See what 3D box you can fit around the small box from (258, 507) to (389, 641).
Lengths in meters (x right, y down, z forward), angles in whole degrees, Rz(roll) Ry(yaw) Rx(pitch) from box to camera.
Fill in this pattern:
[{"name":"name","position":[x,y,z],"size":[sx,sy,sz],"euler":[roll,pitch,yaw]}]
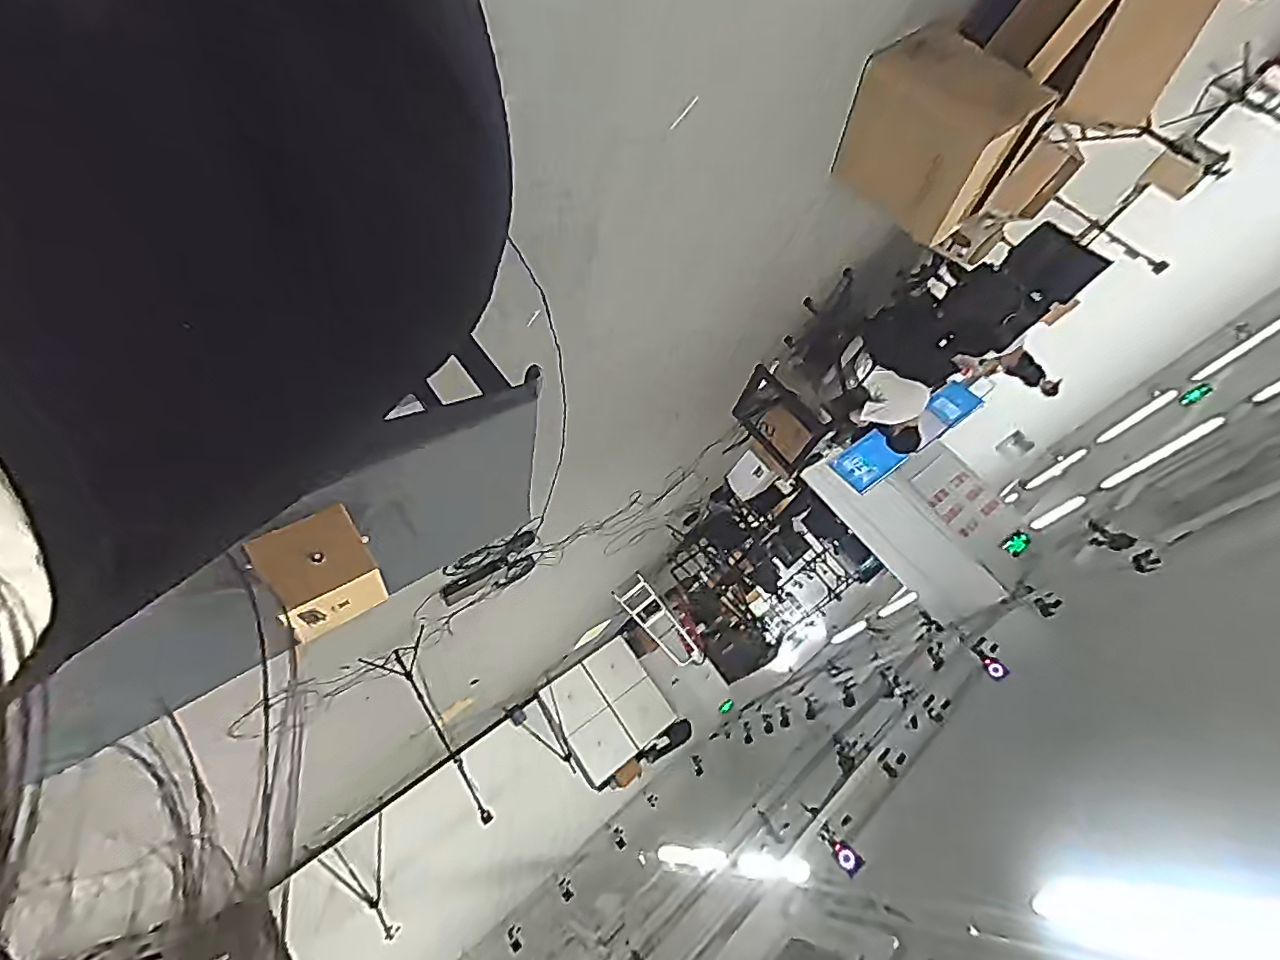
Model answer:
[{"name":"small box","position":[-0.627,0.184,1.075],"size":[0.179,0.176,0.168],"euler":[-26,160,-32]}]
